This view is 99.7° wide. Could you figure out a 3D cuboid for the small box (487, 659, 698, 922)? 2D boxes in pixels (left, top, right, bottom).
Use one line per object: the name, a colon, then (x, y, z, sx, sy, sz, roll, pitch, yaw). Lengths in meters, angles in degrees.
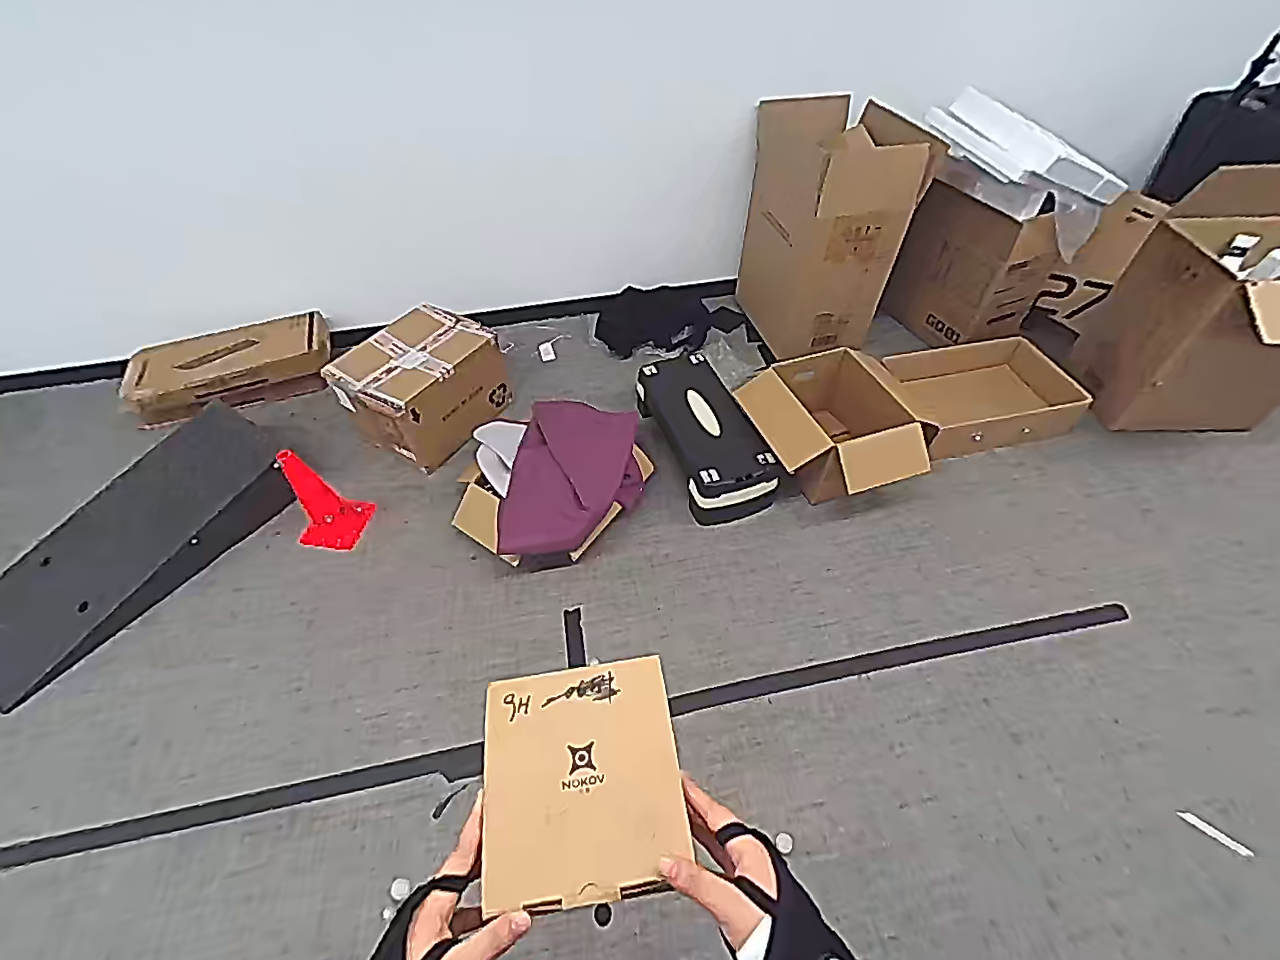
small box: (-0.041, 0.295, 0.518, 0.168, 0.176, 0.179, -8, 52, -3)
